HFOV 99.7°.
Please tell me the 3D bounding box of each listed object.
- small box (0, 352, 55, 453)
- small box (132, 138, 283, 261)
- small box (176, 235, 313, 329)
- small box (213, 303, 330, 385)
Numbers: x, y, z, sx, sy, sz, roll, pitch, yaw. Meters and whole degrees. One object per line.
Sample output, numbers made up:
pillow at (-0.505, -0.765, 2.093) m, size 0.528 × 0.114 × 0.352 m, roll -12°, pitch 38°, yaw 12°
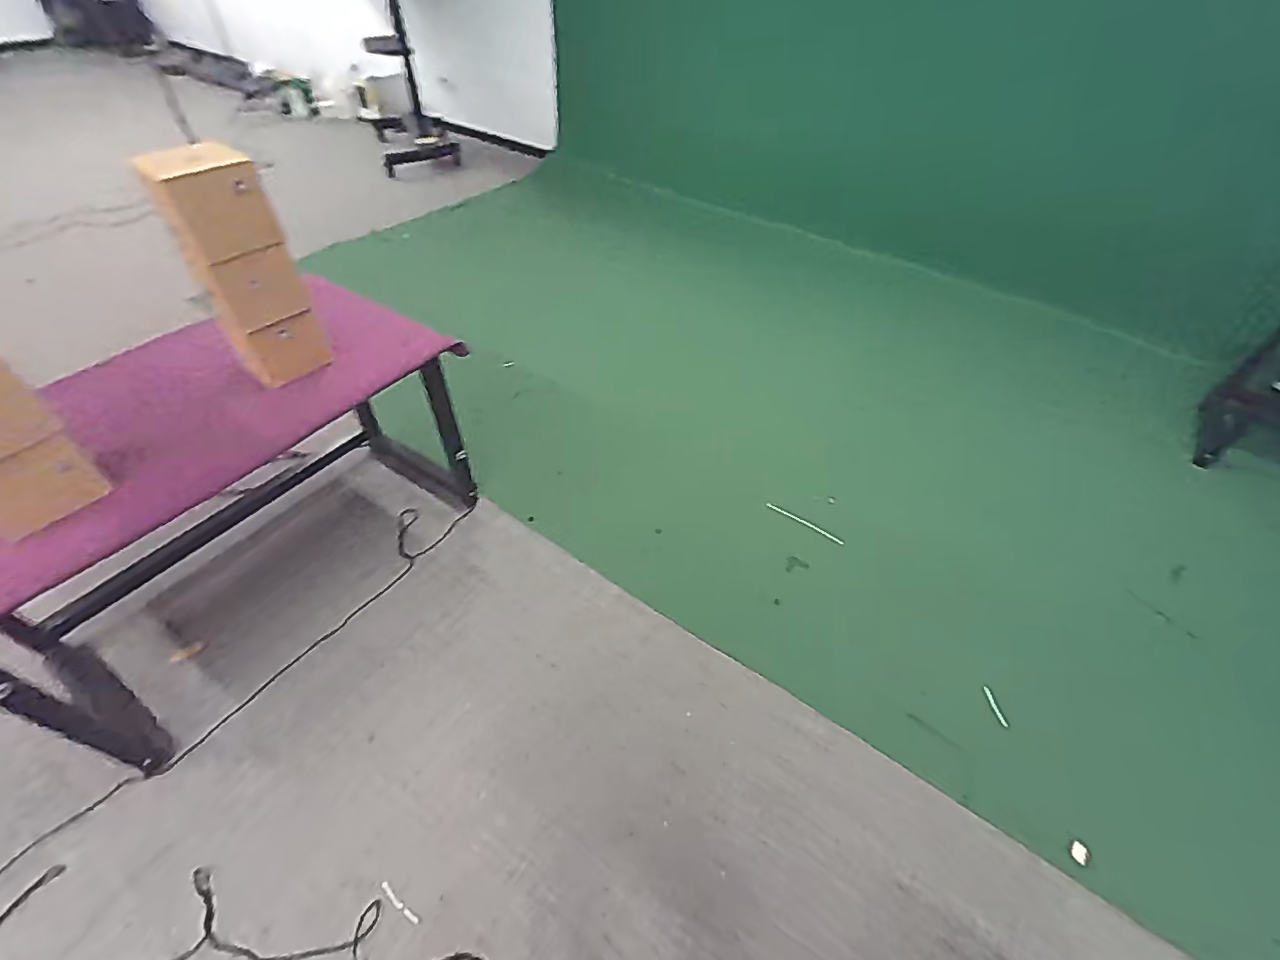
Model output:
small box at (-1.180, -0.142, 0.926) m, size 0.168 × 0.176 × 0.179 m, roll 26°, pitch 51°, yaw 19°
small box at (-0.898, -0.593, 1.145) m, size 0.168 × 0.176 × 0.179 m, roll 32°, pitch 54°, yaw 24°
small box at (-0.913, -0.481, 1.265) m, size 0.168 × 0.176 × 0.179 m, roll 33°, pitch 55°, yaw 23°
small box at (-0.932, -0.376, 1.390) m, size 0.168 × 0.176 × 0.179 m, roll 33°, pitch 54°, yaw 23°
